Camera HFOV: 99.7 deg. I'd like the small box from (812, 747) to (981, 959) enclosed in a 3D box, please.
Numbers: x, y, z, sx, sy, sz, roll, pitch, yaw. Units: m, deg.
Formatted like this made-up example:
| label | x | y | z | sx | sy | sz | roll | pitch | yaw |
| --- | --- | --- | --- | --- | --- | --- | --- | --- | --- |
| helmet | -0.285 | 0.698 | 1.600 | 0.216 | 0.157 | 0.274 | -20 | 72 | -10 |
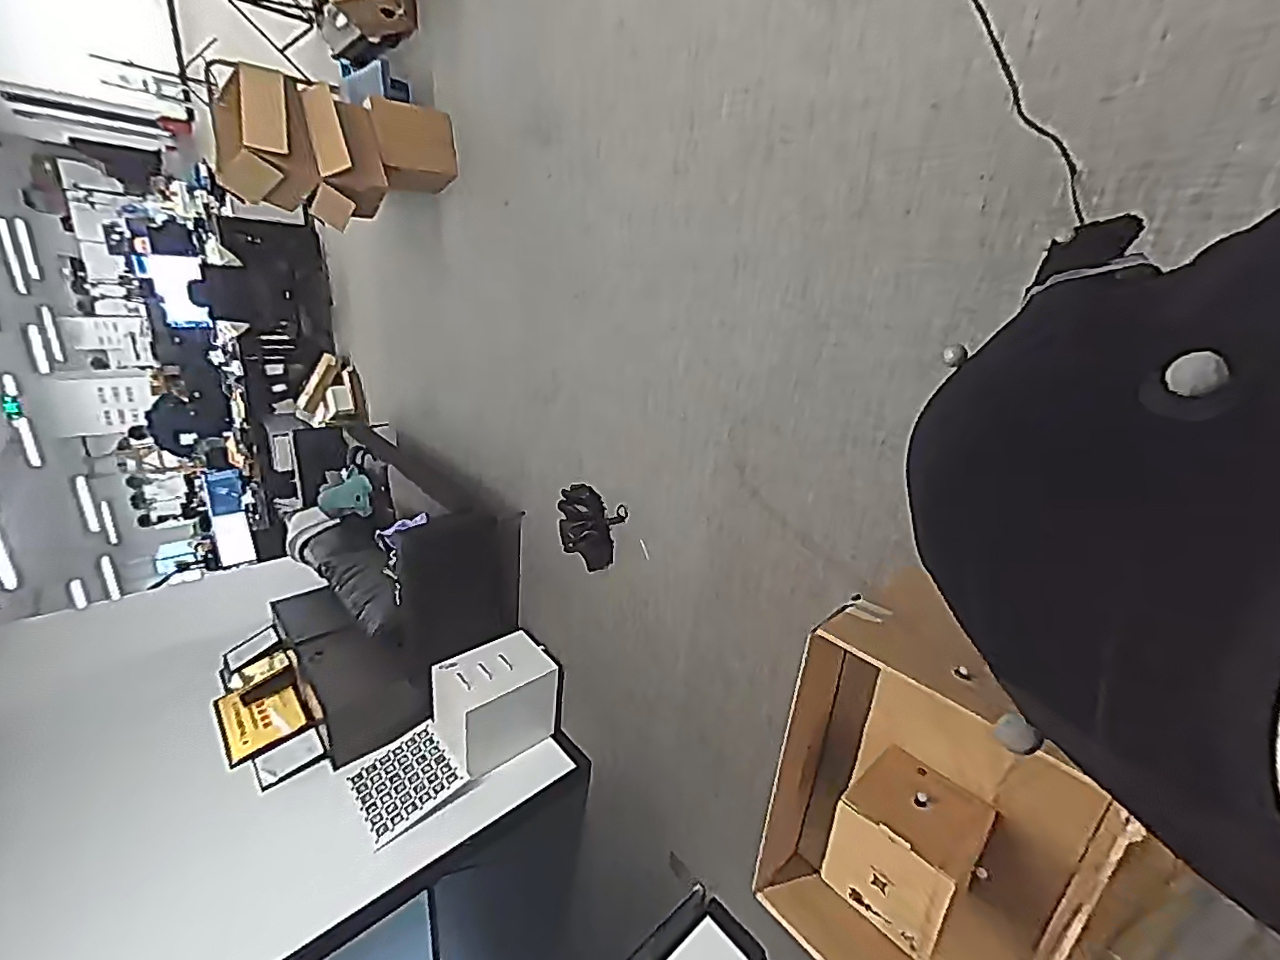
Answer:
| label | x | y | z | sx | sy | sz | roll | pitch | yaw |
| --- | --- | --- | --- | --- | --- | --- | --- | --- | --- |
| small box | 0.396 | 0.558 | 0.834 | 0.168 | 0.176 | 0.179 | 24 | 117 | 44 |
